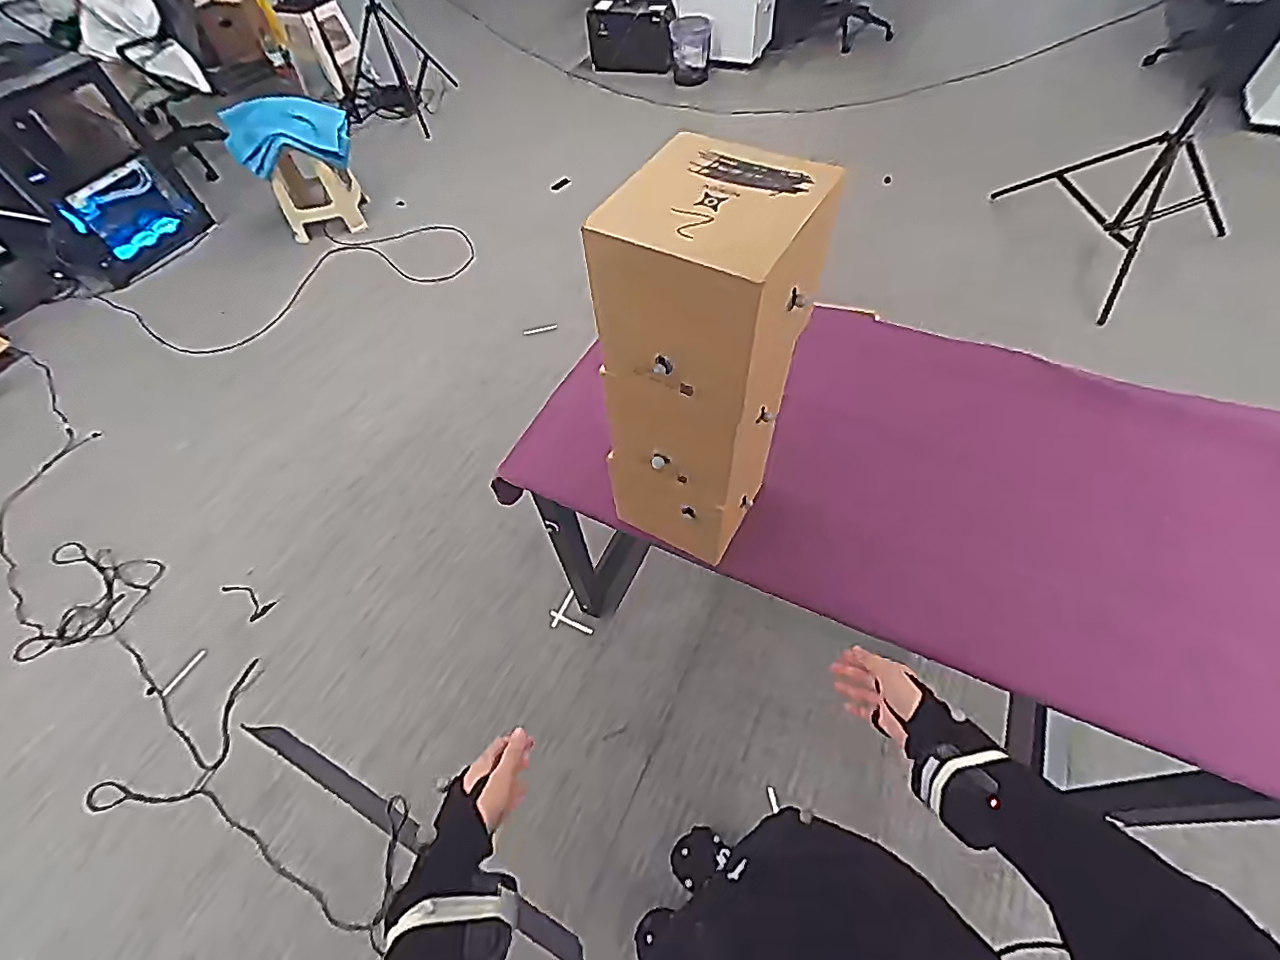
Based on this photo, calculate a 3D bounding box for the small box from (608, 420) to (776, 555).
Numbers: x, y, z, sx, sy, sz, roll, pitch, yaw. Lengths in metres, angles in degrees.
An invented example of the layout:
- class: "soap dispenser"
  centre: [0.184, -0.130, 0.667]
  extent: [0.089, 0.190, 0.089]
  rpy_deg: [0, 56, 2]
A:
- class: "small box"
  centre: [0.076, -0.012, 0.794]
  extent: [0.179, 0.176, 0.168]
  rpy_deg: [25, 61, 19]

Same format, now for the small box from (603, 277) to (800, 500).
- class: "small box"
  centre: [0.073, -0.109, 0.660]
  extent: [0.168, 0.176, 0.179]
  rpy_deg: [24, 62, 19]
